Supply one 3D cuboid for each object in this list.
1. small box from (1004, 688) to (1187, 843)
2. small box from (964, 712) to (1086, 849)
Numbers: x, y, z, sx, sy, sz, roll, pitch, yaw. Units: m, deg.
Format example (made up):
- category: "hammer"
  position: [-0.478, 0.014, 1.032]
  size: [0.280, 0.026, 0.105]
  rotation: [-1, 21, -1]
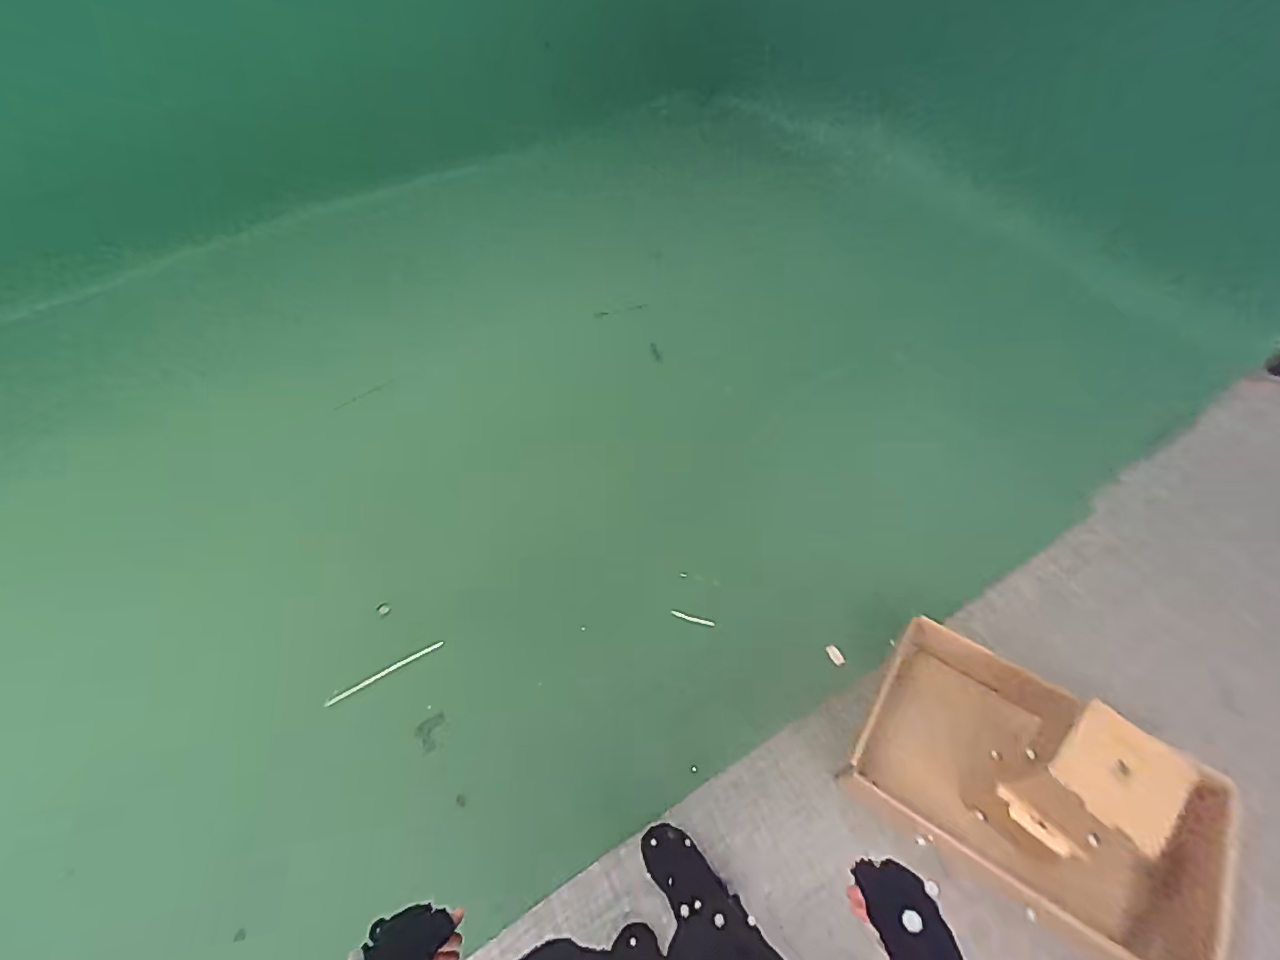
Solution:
- category: "small box"
  position: [0.795, 0.514, 0.966]
  size: [0.179, 0.176, 0.168]
  rotation: [-38, 61, -22]
- category: "small box"
  position: [0.794, 0.613, 1.095]
  size: [0.168, 0.176, 0.179]
  rotation: [35, 64, 26]
